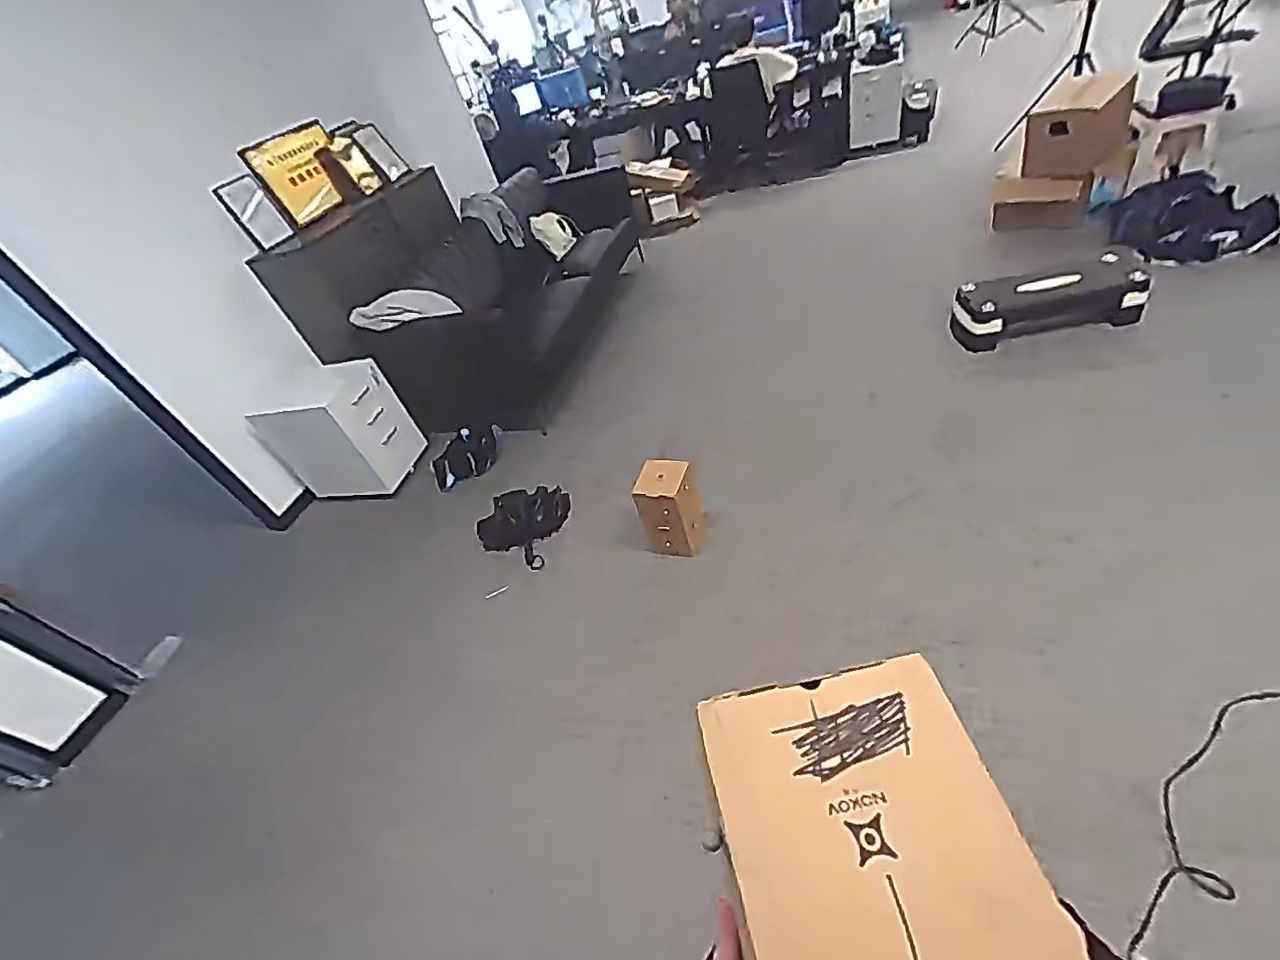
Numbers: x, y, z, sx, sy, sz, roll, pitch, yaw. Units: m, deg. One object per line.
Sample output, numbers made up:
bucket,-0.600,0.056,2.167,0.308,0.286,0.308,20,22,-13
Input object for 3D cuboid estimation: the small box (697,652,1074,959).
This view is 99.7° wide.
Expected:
small box,0.137,0.251,0.388,0.168,0.176,0.179,-11,52,-2
